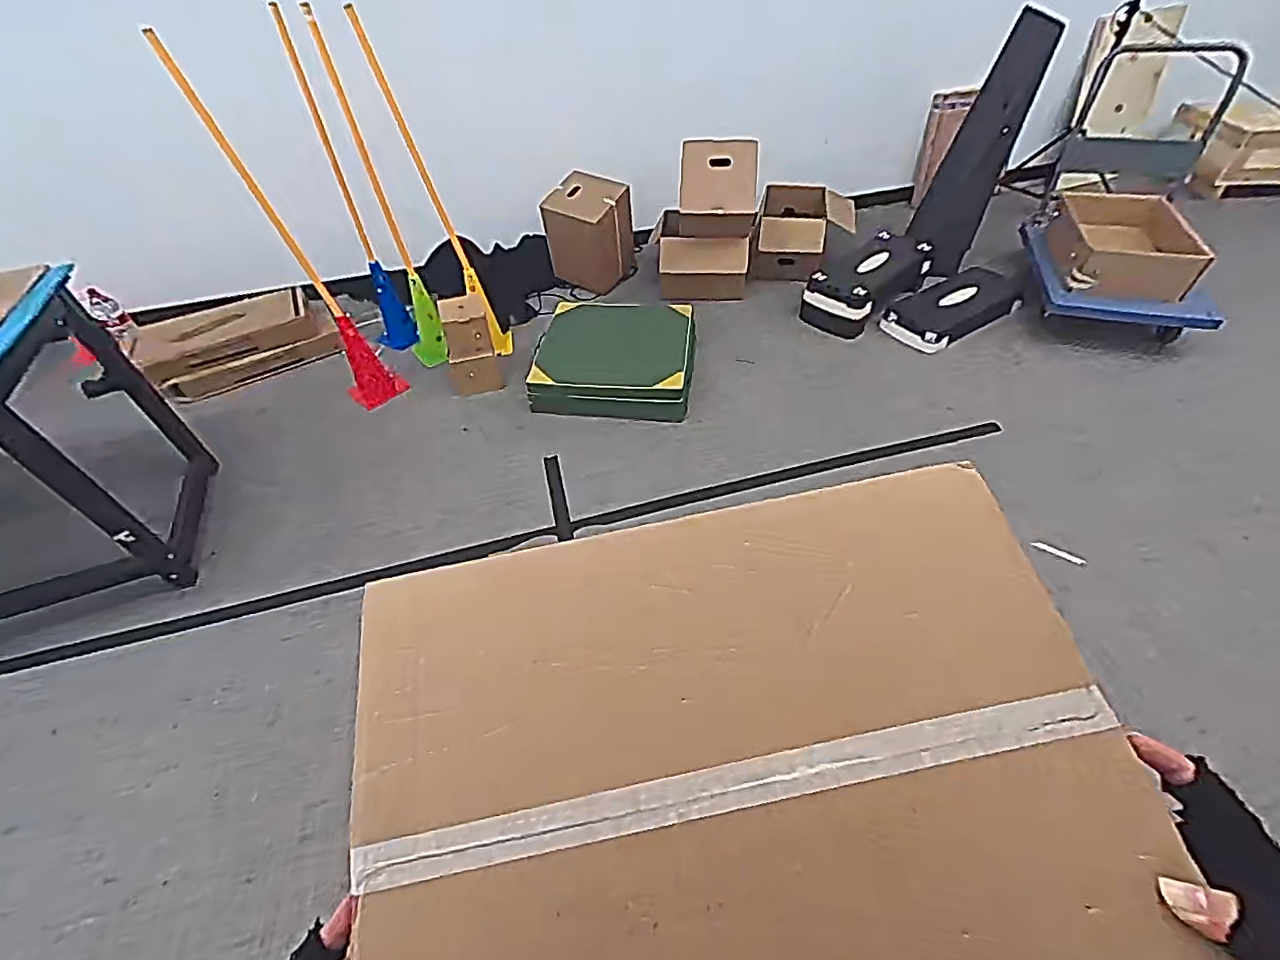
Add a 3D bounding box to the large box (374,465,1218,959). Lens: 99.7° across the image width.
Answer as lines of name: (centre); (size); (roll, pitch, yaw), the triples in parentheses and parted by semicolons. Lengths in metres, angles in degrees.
large box: (0.061, 0.231, 0.432); (0.408, 0.320, 0.320); (-12, 63, -1)
